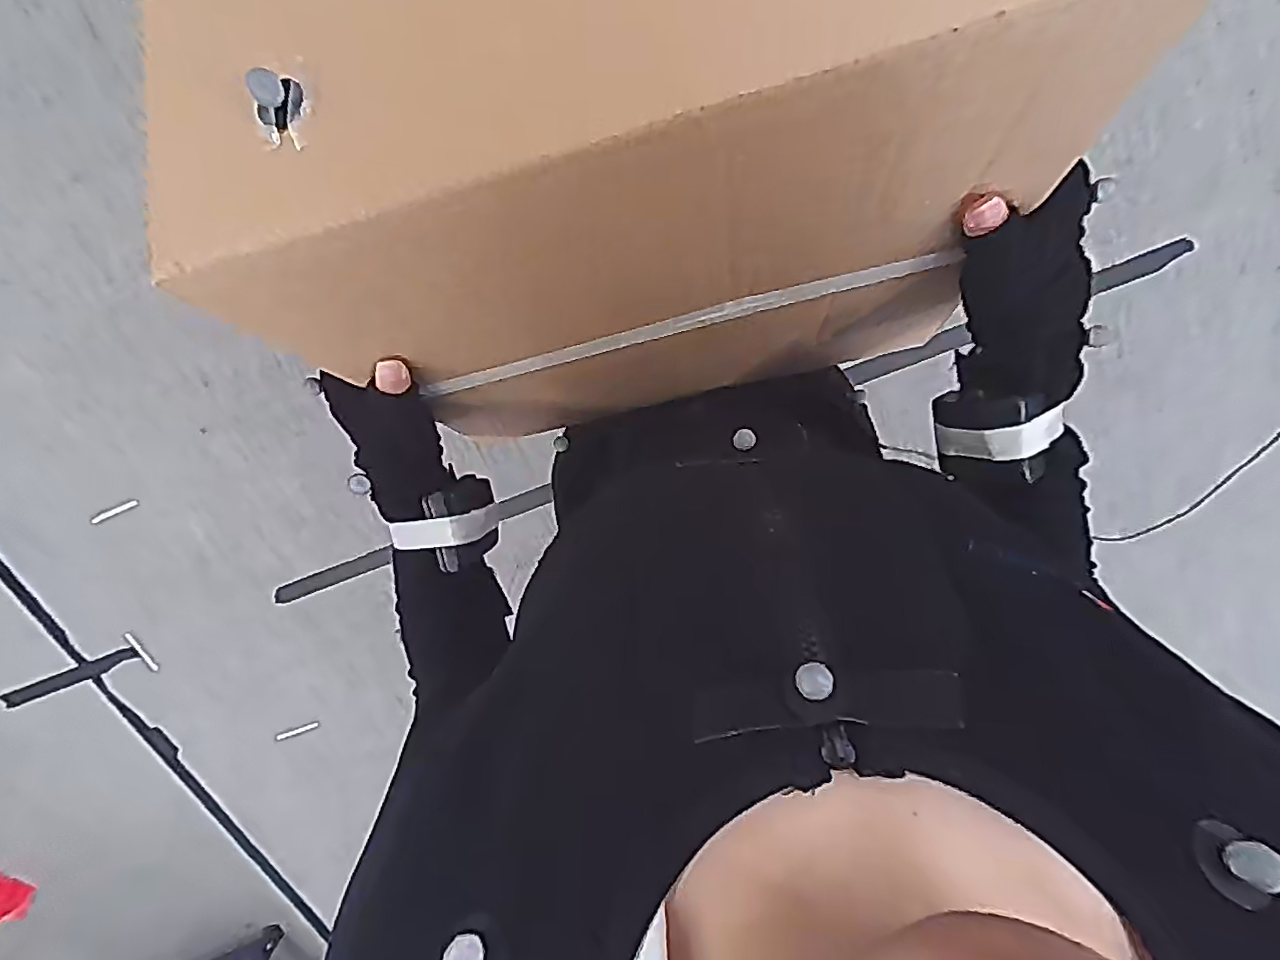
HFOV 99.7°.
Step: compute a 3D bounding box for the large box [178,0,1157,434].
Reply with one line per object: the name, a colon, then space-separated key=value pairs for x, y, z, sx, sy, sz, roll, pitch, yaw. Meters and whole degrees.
large box: x=-0.010 y=-0.255 z=0.377 sx=0.408 sy=0.320 sz=0.320 roll=-12 pitch=80 yaw=8
